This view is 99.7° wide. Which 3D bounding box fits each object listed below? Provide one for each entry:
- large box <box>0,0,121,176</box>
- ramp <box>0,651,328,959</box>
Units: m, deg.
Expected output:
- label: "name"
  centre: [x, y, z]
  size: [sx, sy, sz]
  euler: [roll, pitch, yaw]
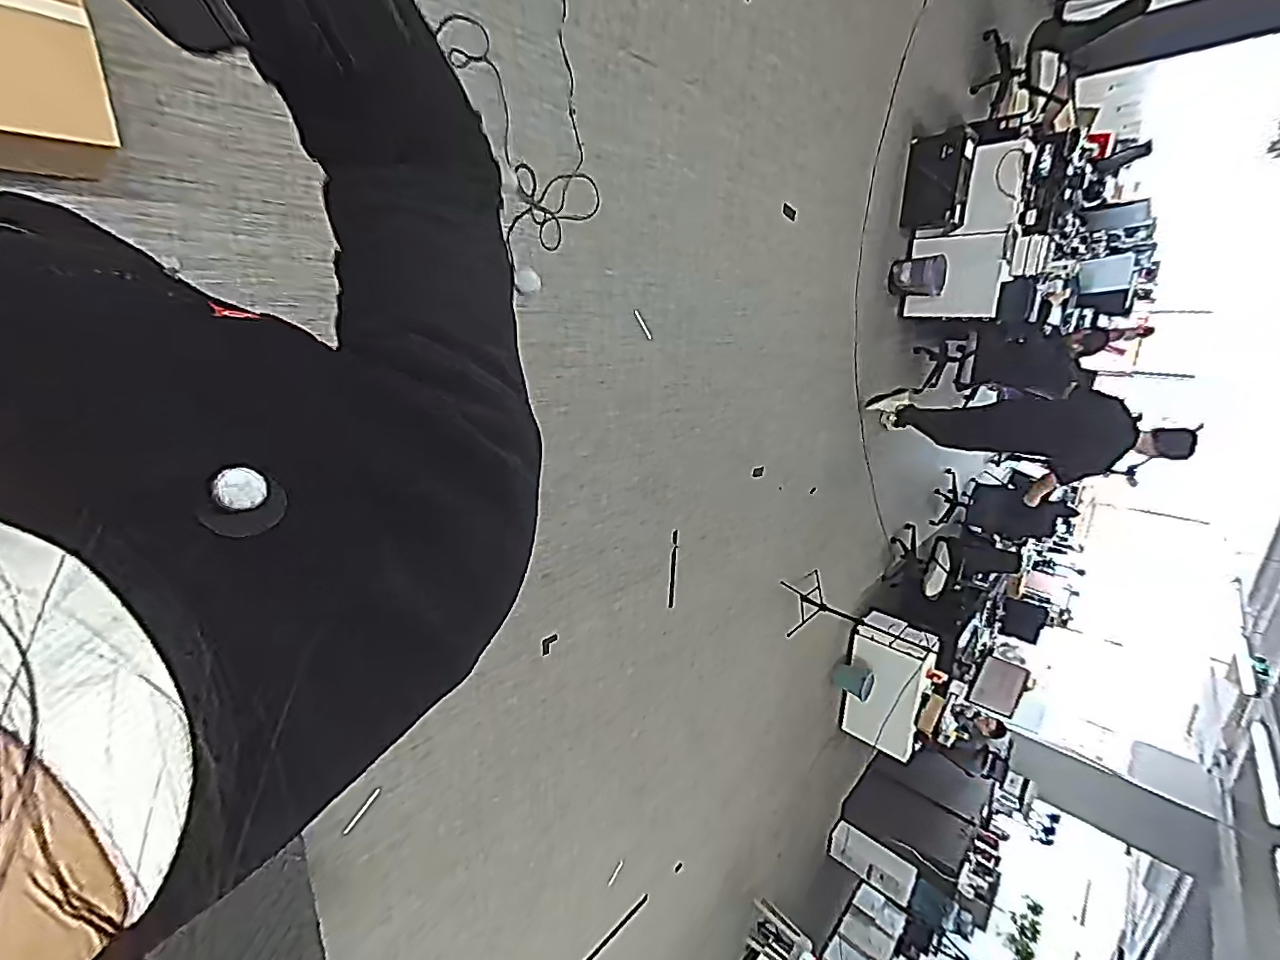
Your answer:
- label: "large box"
  centre: [-1.012, -0.624, 0.713]
  size: [0.408, 0.320, 0.320]
  euler: [-18, 116, -44]
- label: "ramp"
  centre: [-1.060, 0.951, 1.251]
  size: [0.509, 0.206, 0.991]
  euler: [-14, 112, -43]
